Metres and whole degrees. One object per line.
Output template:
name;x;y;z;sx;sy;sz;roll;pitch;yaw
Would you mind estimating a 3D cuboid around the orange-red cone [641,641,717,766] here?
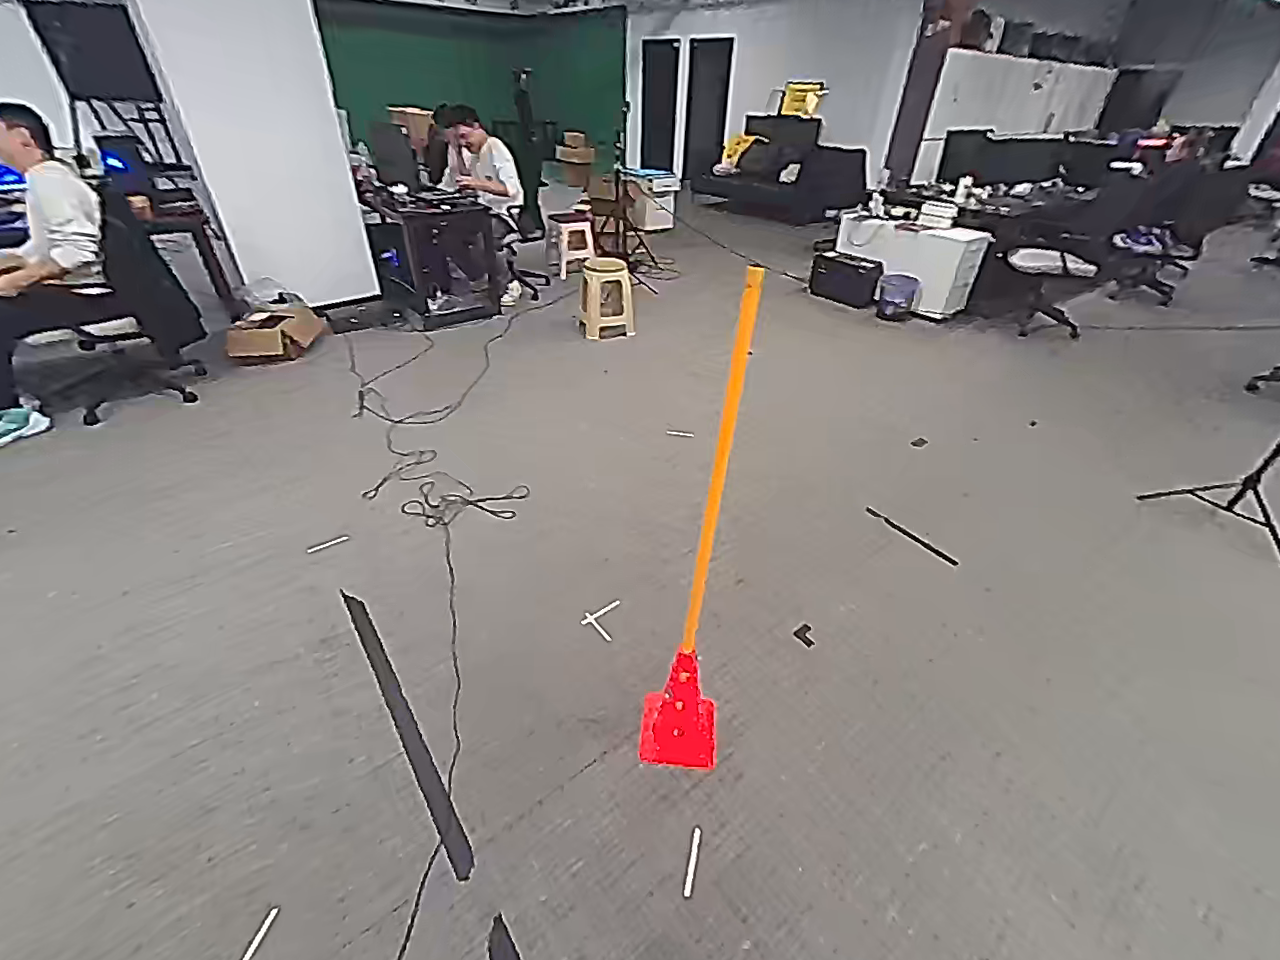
orange-red cone;0.110;0.531;1.360;0.198;0.360;0.199;5;37;6
